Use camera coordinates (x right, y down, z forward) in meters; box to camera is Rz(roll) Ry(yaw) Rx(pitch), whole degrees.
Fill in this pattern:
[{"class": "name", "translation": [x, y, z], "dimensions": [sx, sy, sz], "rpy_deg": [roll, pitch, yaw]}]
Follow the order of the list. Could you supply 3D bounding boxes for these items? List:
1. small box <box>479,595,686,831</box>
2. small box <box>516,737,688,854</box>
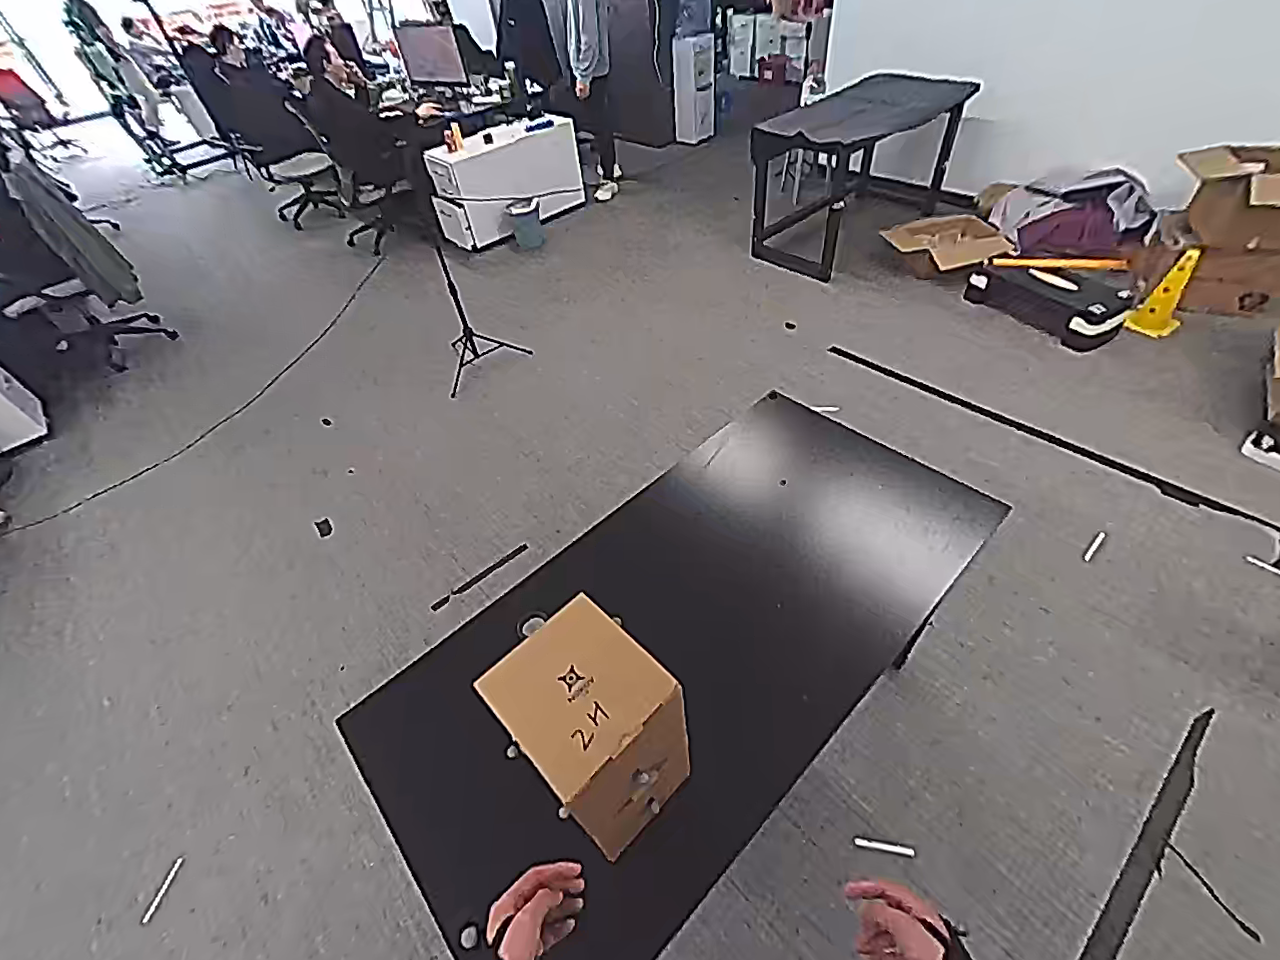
[{"class": "small box", "translation": [-0.061, 0.282, 0.655], "dimensions": [0.168, 0.176, 0.179], "rpy_deg": [-38, 53, -25]}, {"class": "small box", "translation": [-0.044, 0.396, 0.774], "dimensions": [0.168, 0.176, 0.179], "rpy_deg": [-38, 54, -25]}]
